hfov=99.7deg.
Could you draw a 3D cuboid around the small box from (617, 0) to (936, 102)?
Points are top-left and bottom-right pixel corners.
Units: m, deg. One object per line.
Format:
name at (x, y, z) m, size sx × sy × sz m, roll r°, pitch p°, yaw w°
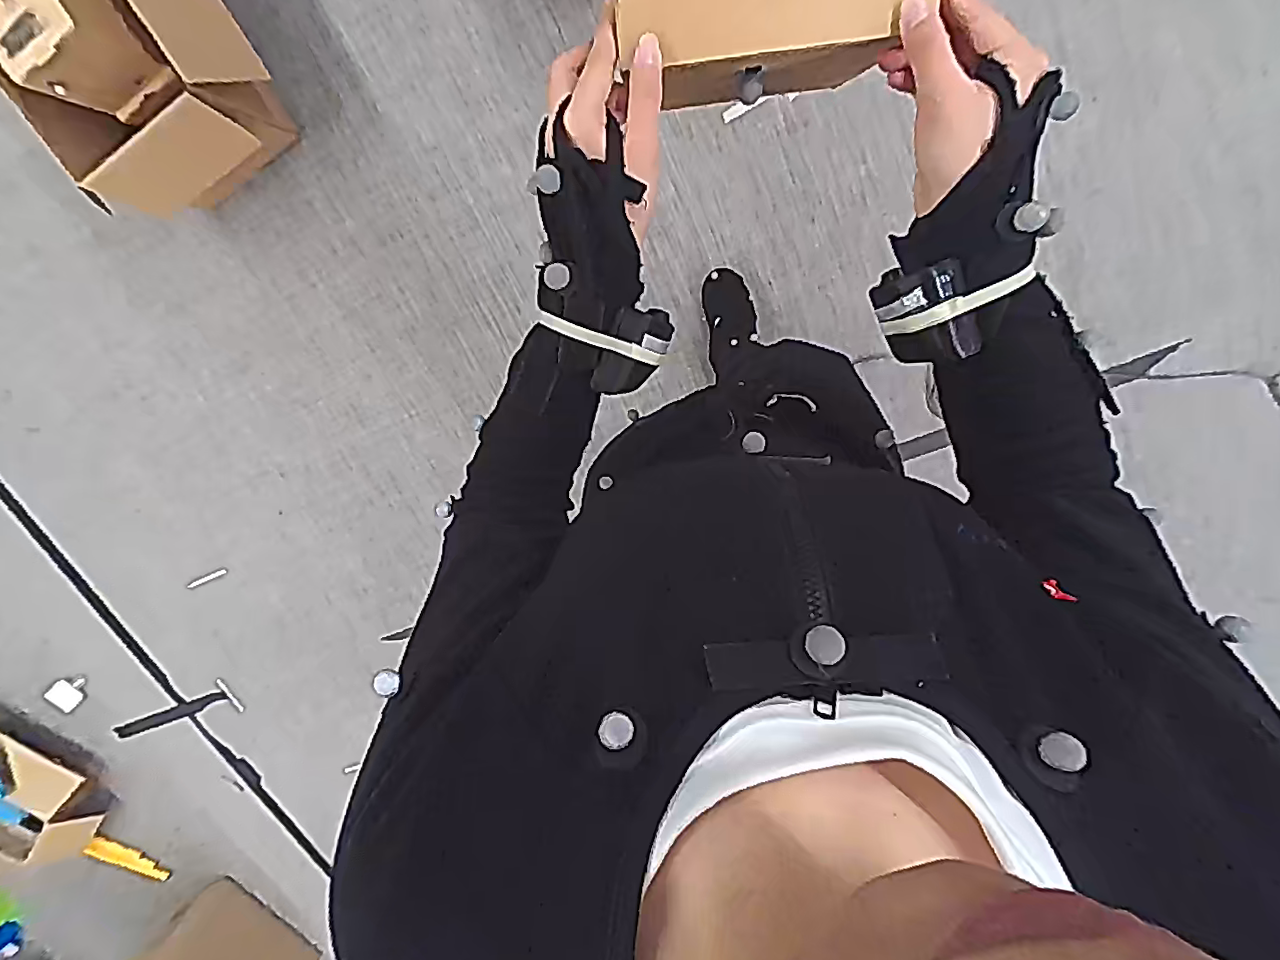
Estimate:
small box at (0.069, -0.354, 0.336) m, size 0.179 × 0.176 × 0.168 m, roll -5°, pitch 117°, yaw 4°
